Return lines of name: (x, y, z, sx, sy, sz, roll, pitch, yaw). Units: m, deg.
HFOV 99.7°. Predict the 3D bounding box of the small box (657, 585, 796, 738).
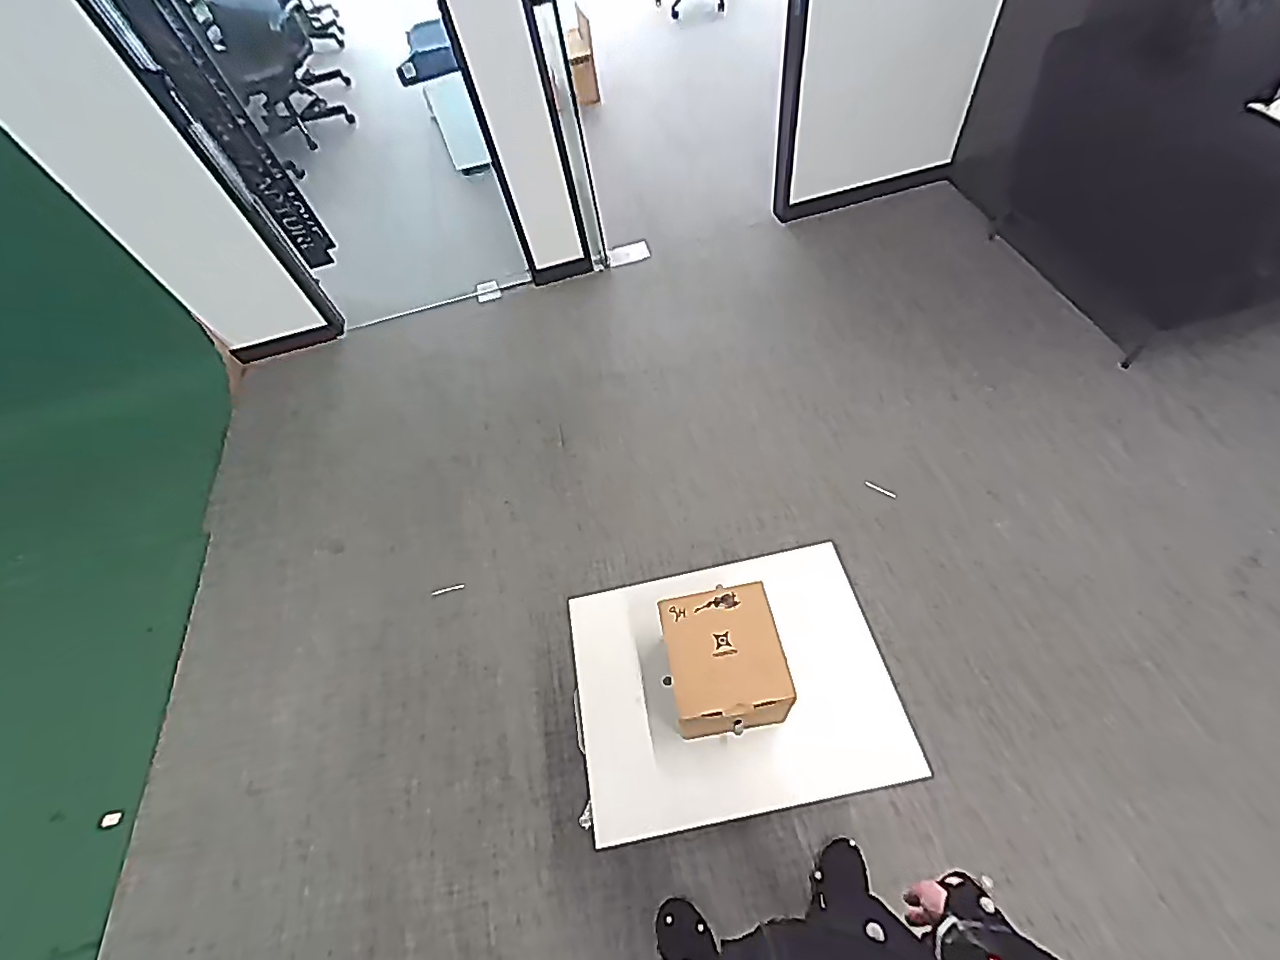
small box: (0.131, 0.290, 0.844, 0.168, 0.176, 0.179, -13, 55, 0)
